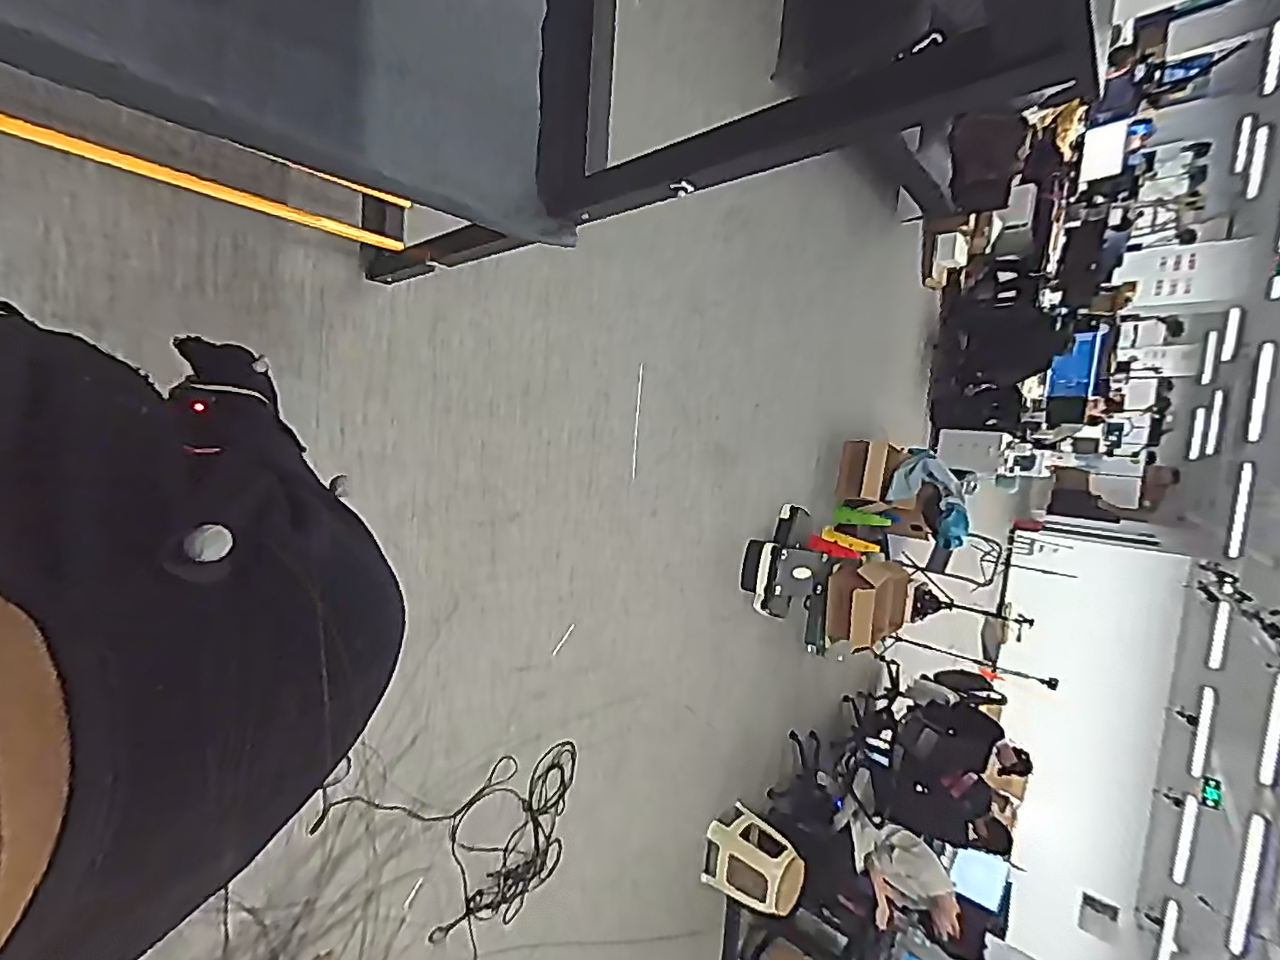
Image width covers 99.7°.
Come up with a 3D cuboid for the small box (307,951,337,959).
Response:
[{"bbox_3d":[-0.888,1.423,1.443,0.168,0.176,0.179,-5,101,-48],"label":"small box"}]
